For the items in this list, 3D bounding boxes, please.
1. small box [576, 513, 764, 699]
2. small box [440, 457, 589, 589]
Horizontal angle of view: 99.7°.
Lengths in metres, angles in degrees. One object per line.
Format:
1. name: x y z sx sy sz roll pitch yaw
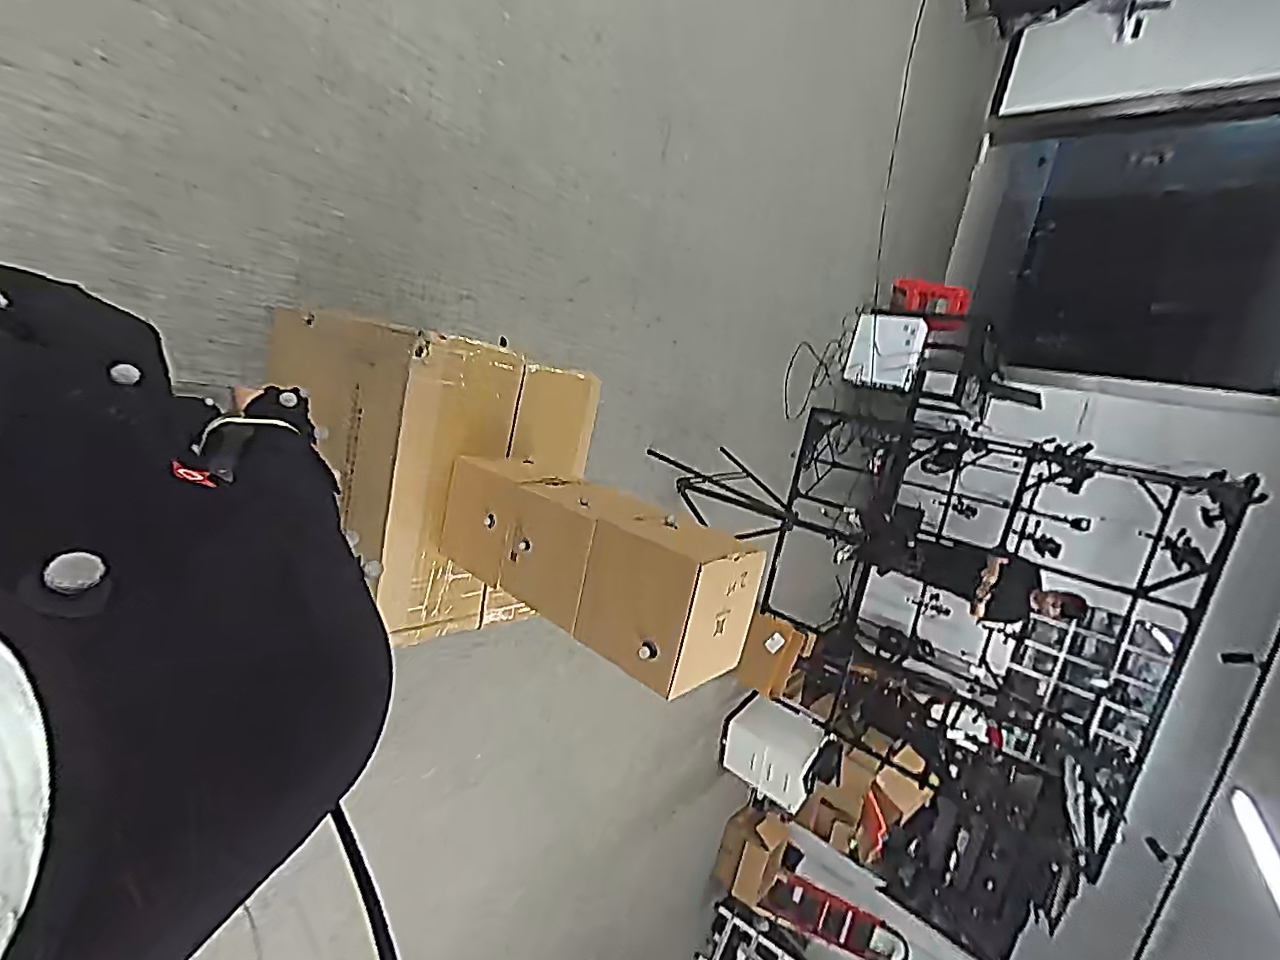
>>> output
1. small box: 0.036 0.153 0.723 0.168 0.176 0.179 2 104 -52
2. small box: -0.216 0.064 0.916 0.168 0.176 0.179 2 104 -52
